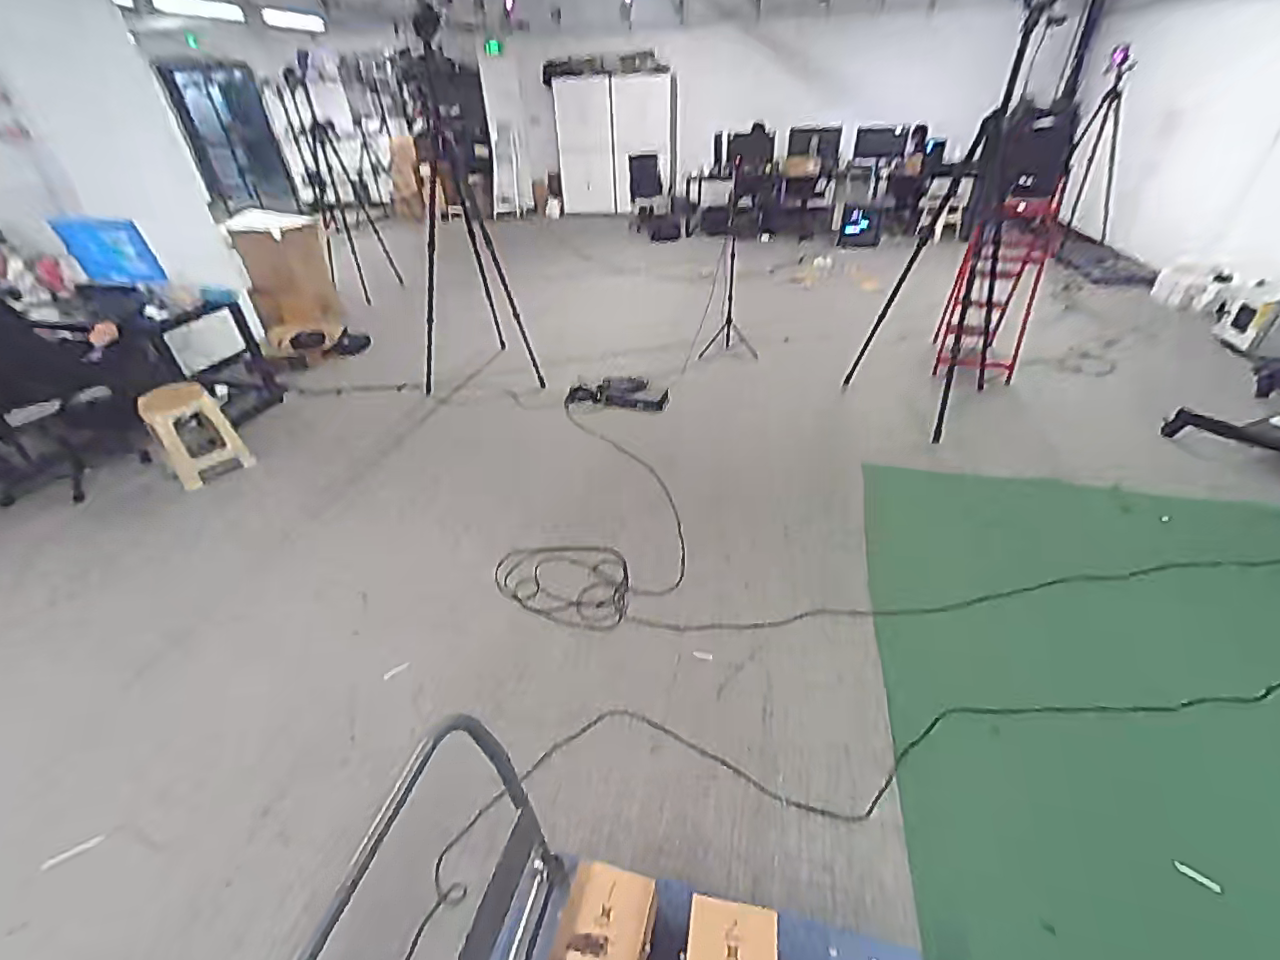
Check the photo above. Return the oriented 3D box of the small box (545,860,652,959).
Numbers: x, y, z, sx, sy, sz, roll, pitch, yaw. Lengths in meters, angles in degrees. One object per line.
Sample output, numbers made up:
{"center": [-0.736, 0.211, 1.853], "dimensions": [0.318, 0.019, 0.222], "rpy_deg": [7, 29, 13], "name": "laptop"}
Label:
{"center": [-0.073, 0.920, 1.088], "dimensions": [0.168, 0.176, 0.179], "rpy_deg": [8, 36, 14], "name": "small box"}
